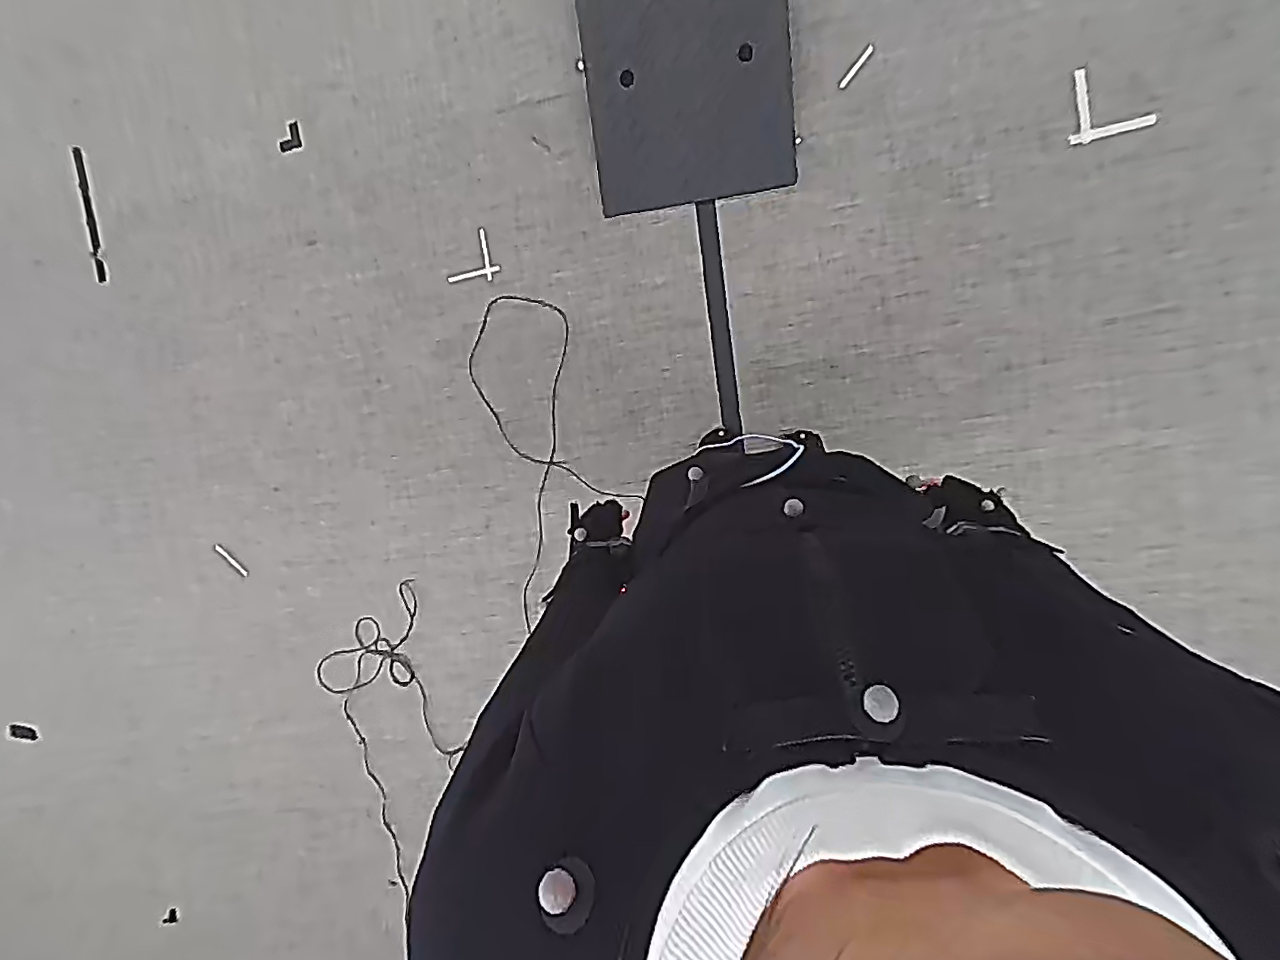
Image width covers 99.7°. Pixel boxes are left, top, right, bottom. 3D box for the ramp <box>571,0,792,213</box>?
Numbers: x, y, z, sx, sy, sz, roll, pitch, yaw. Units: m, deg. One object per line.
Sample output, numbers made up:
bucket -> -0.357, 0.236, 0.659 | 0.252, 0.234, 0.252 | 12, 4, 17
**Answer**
ramp -> 0.073, -1.191, 1.234 | 0.509, 0.206, 0.991 | -7, 96, 9
